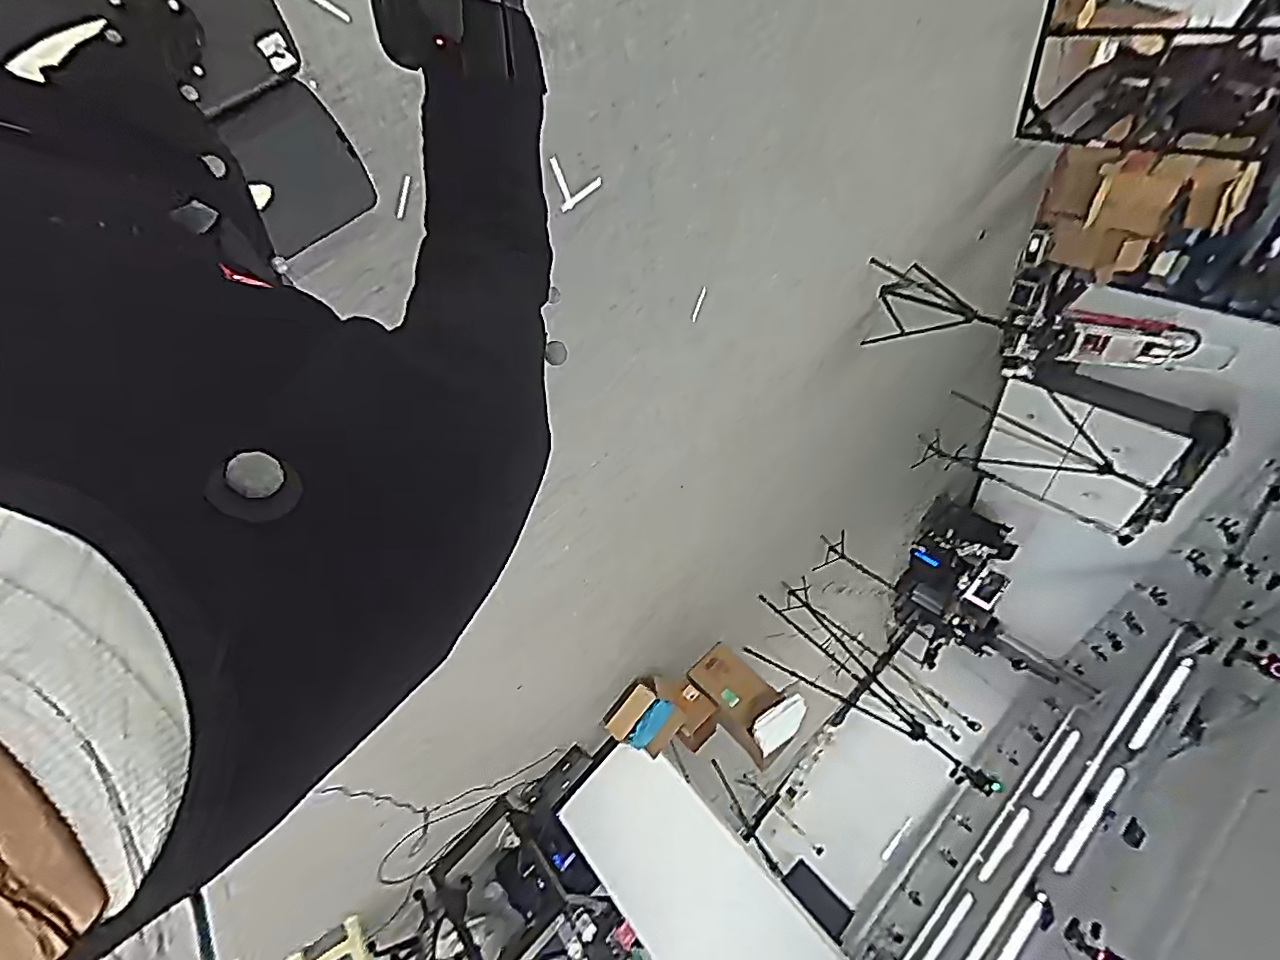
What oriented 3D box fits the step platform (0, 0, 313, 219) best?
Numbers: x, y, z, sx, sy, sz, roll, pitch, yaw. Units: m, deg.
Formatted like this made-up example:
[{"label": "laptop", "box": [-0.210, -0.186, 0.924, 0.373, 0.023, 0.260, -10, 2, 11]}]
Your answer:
[{"label": "step platform", "box": [-0.950, -0.756, 0.936, 0.684, 0.204, 0.286, -44, 143, -15]}]
